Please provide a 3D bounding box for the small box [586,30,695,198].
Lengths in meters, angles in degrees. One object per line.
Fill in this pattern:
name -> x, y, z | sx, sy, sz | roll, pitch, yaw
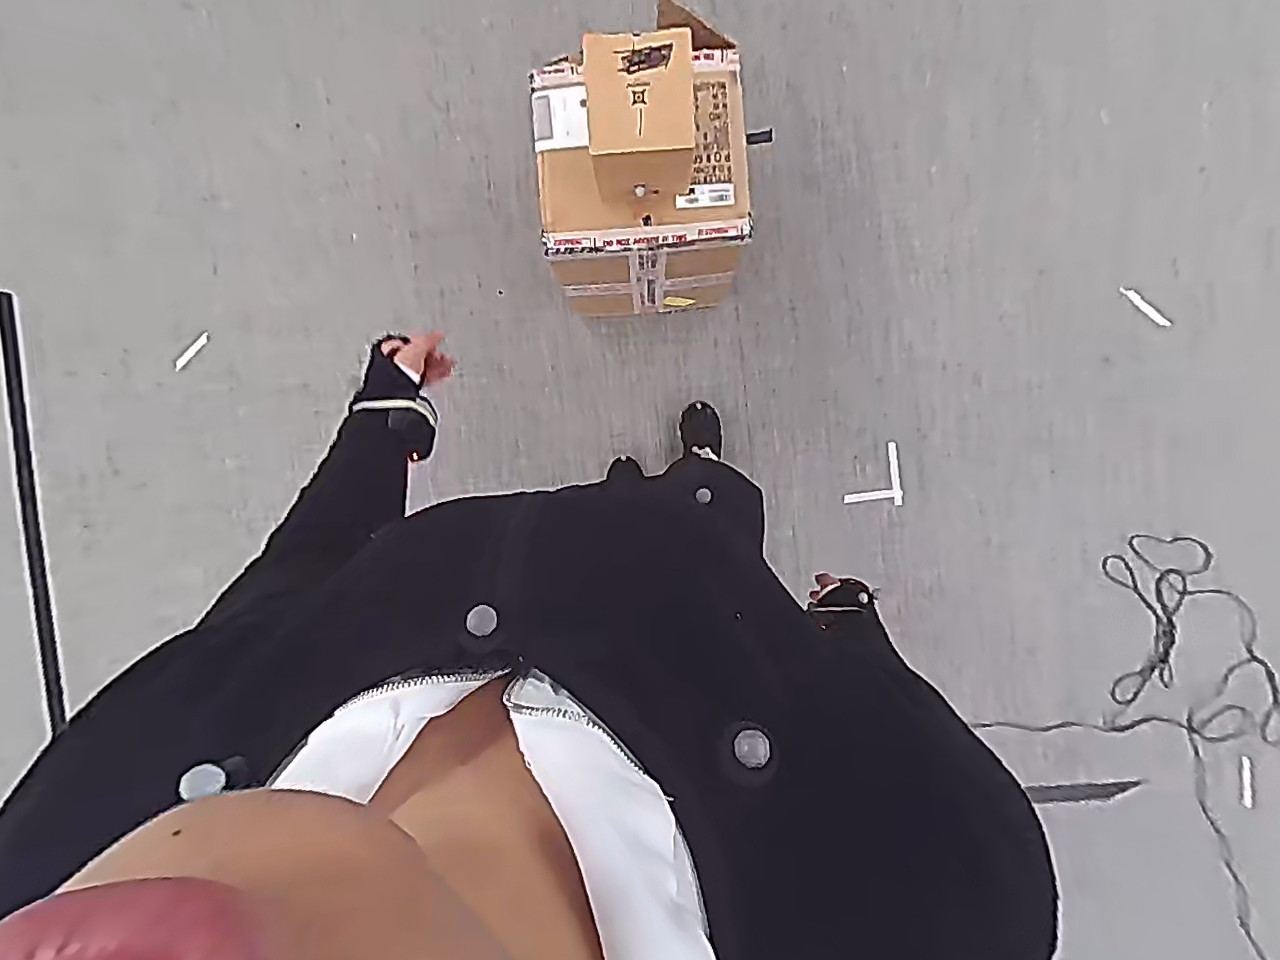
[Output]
small box -> 0.001, -0.599, 0.905 | 0.168, 0.176, 0.179 | -3, 96, 1
